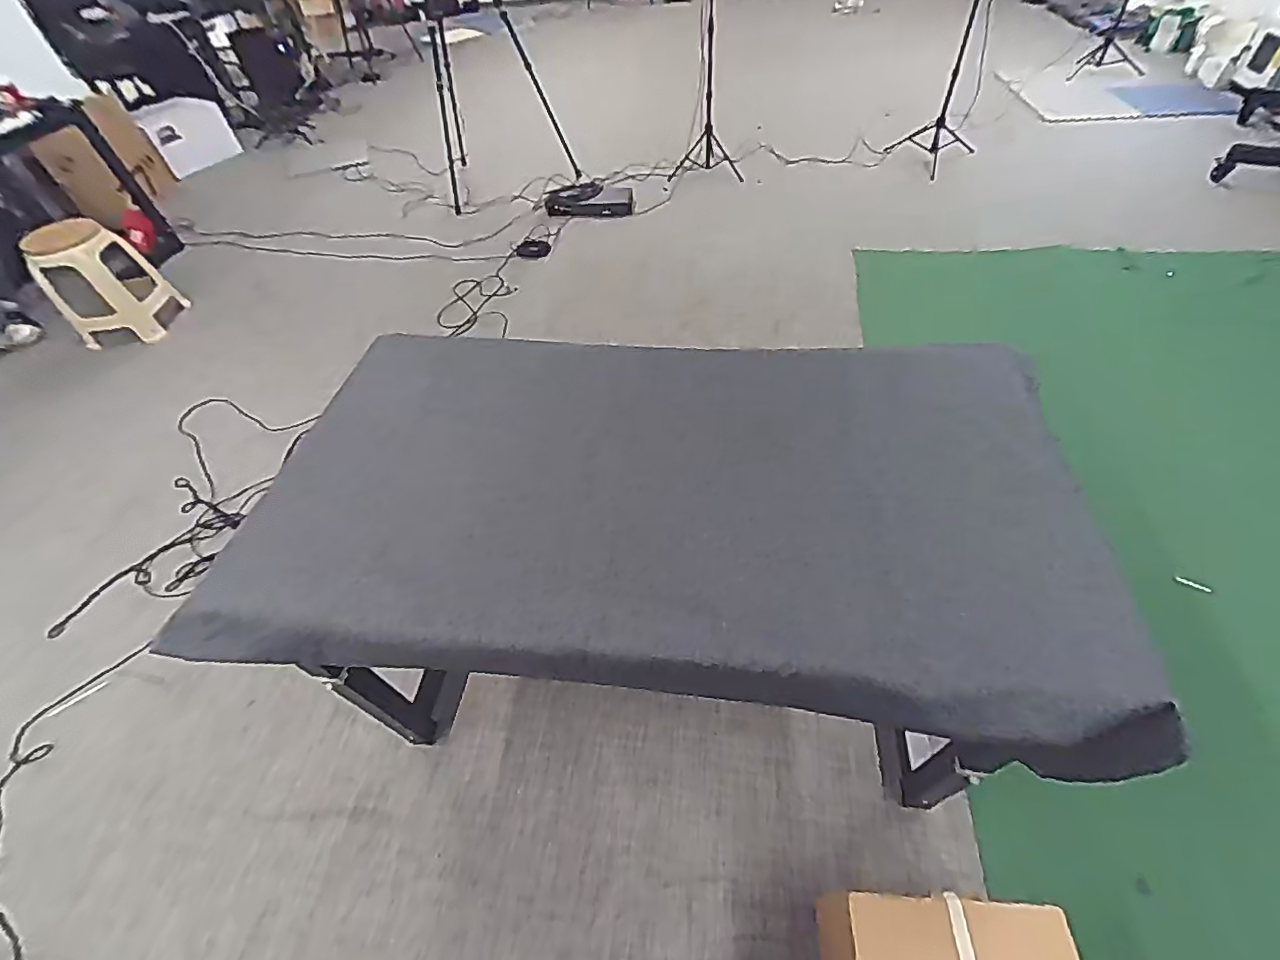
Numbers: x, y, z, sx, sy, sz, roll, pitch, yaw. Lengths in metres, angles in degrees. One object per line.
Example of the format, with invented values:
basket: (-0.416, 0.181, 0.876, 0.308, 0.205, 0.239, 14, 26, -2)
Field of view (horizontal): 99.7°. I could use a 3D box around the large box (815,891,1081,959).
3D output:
large box: (0.472, 0.872, 0.803, 0.320, 0.320, 0.408, 0, 51, 6)
